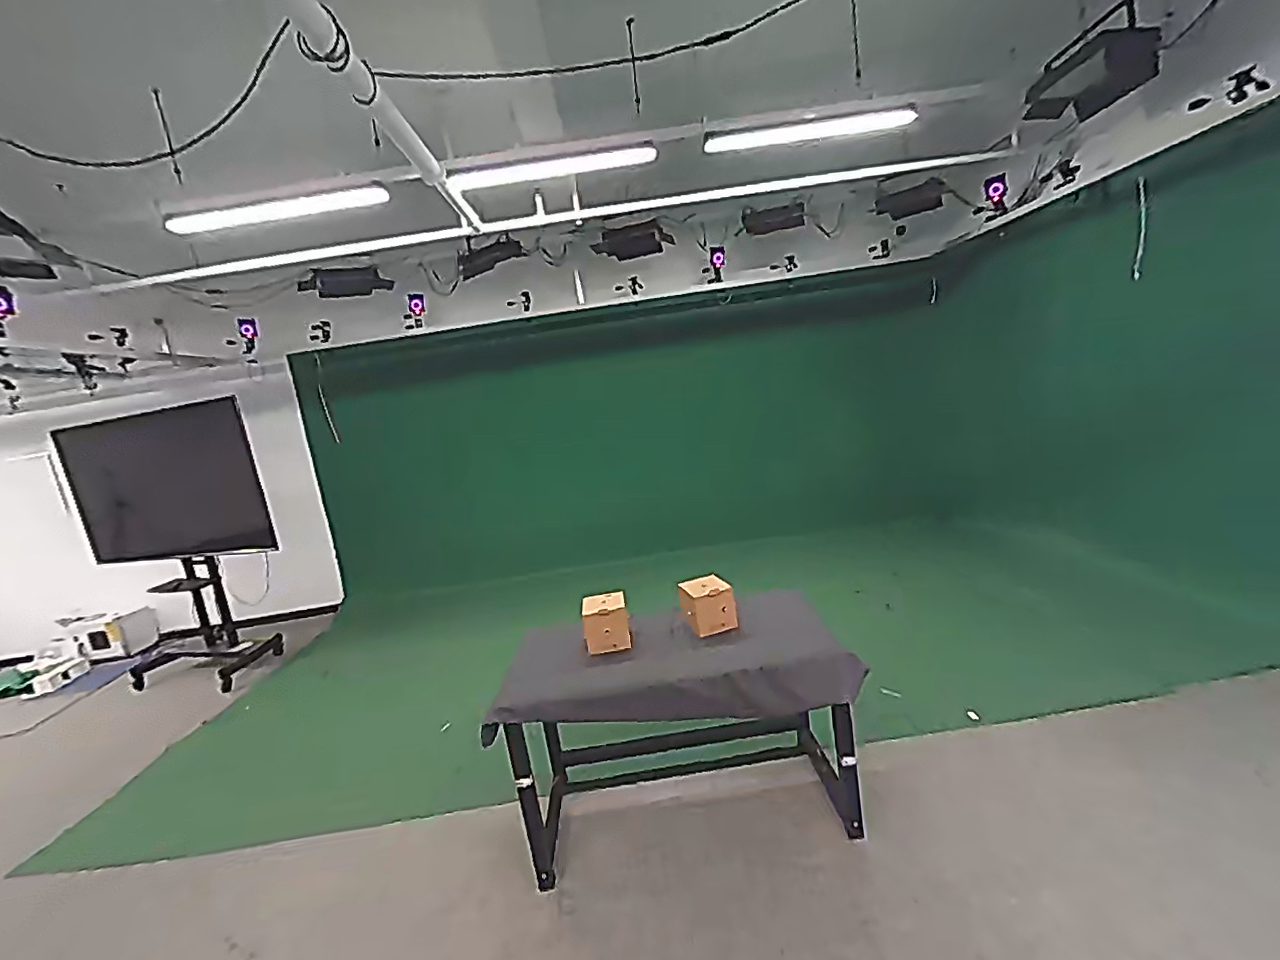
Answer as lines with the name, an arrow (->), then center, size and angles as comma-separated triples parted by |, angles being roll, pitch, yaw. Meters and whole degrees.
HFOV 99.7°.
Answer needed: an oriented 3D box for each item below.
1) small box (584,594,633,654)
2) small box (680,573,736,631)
small box -> -0.126, 0.572, 2.134 | 0.168, 0.176, 0.179 | -11, 9, -5
small box -> 0.270, 0.488, 2.146 | 0.168, 0.176, 0.179 | -9, 9, -14
